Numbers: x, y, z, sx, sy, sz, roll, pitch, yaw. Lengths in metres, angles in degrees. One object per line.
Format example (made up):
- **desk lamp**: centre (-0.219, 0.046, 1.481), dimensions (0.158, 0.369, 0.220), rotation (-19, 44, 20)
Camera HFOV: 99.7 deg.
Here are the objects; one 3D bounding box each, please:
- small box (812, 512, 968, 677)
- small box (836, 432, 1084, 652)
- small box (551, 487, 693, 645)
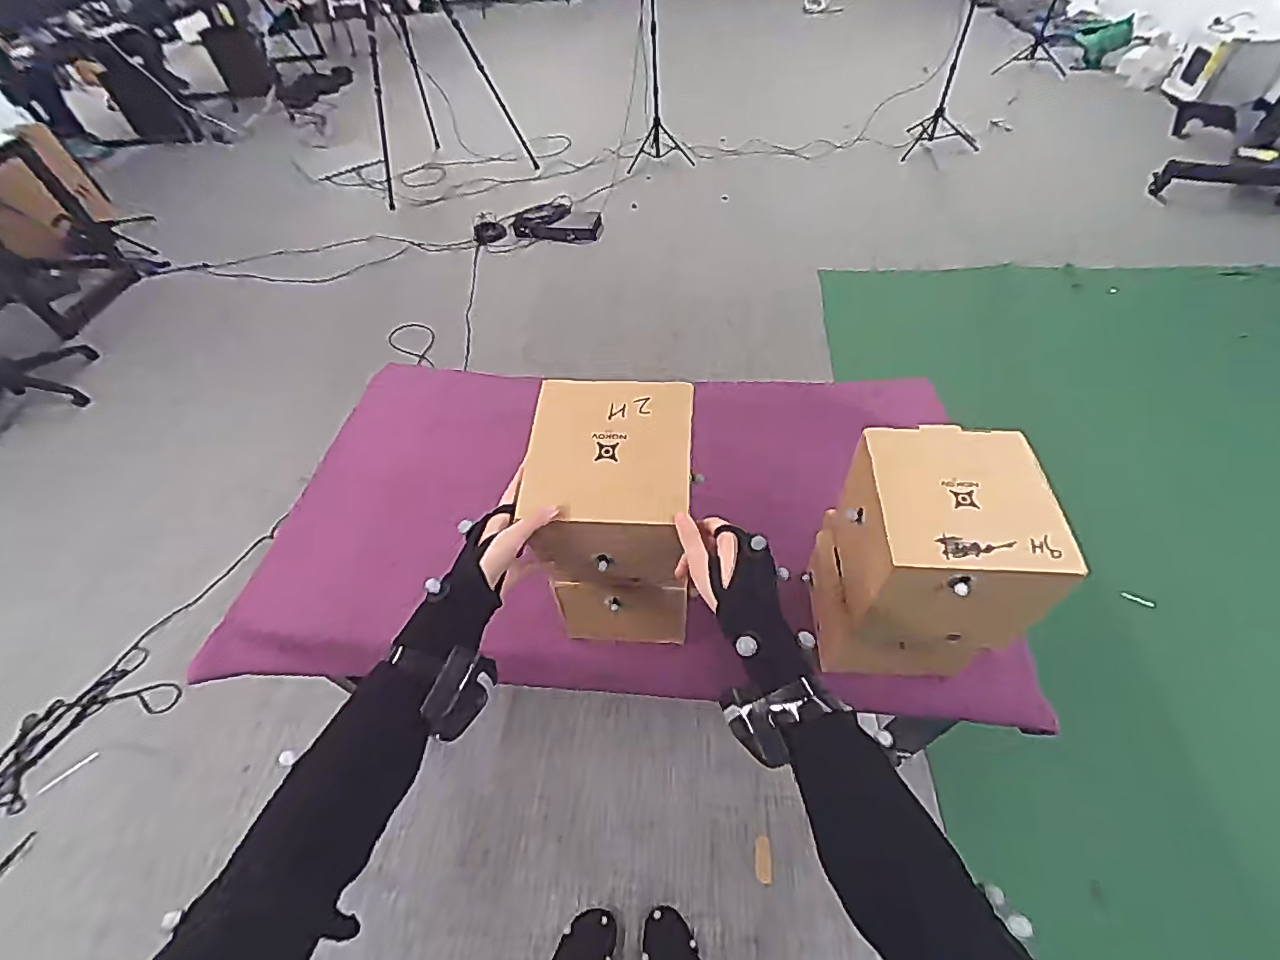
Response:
- **small box**: centre (0.339, 0.158, 0.734), dimensions (0.179, 0.176, 0.168), rotation (0, 51, 5)
- **small box**: centre (0.324, 0.068, 0.597), dimensions (0.168, 0.176, 0.179), rotation (2, 50, 7)
- **small box**: centre (-0.015, 0.128, 0.792), dimensions (0.179, 0.176, 0.168), rotation (2, 50, 7)
